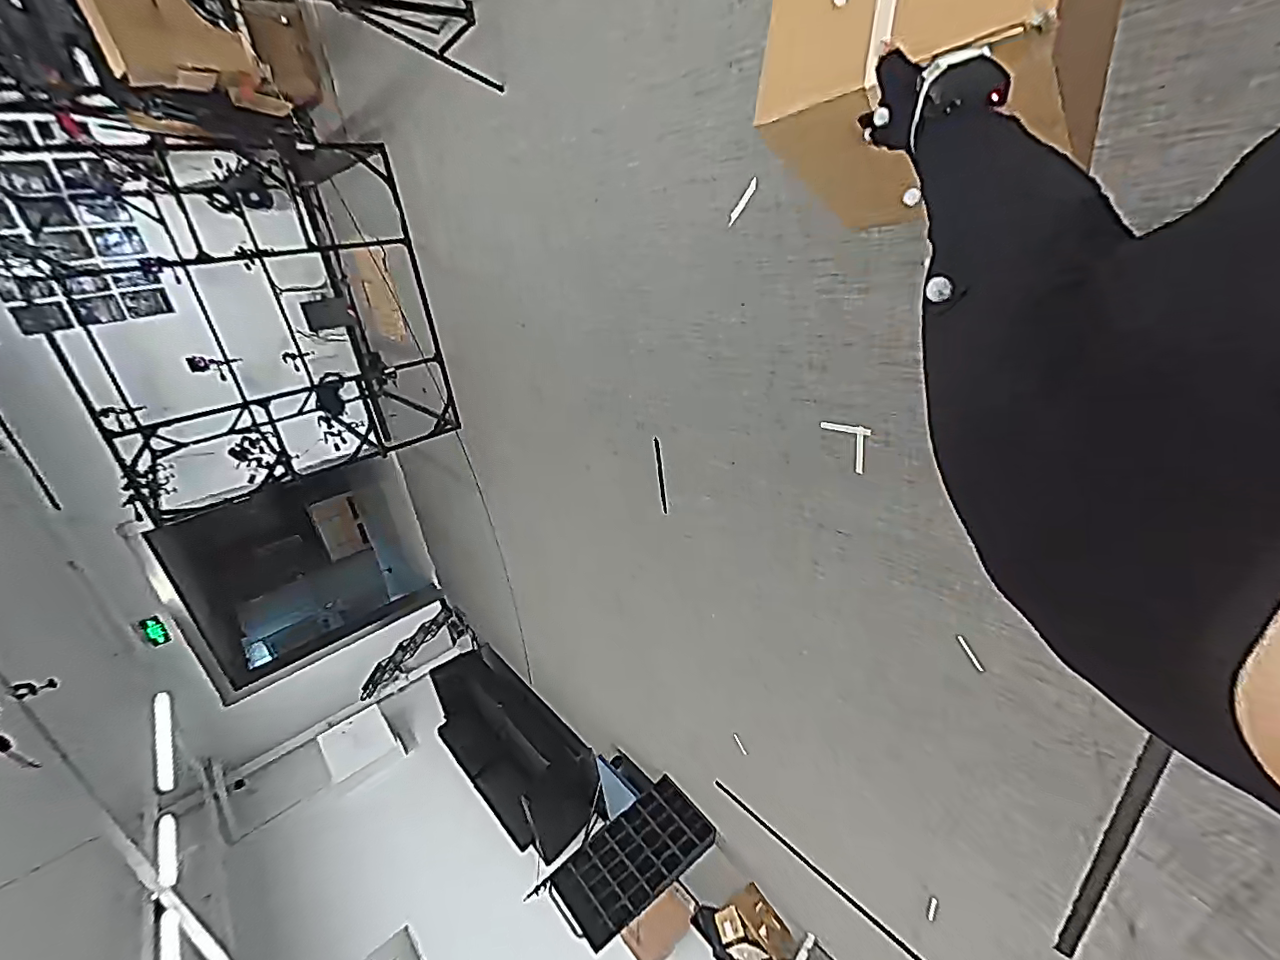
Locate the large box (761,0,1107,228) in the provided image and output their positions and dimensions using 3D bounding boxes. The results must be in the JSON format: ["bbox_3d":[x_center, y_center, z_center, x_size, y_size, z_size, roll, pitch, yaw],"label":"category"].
[{"bbox_3d":[0.392,-0.612,0.698,0.320,0.320,0.408,10,92,45],"label":"large box"}]
